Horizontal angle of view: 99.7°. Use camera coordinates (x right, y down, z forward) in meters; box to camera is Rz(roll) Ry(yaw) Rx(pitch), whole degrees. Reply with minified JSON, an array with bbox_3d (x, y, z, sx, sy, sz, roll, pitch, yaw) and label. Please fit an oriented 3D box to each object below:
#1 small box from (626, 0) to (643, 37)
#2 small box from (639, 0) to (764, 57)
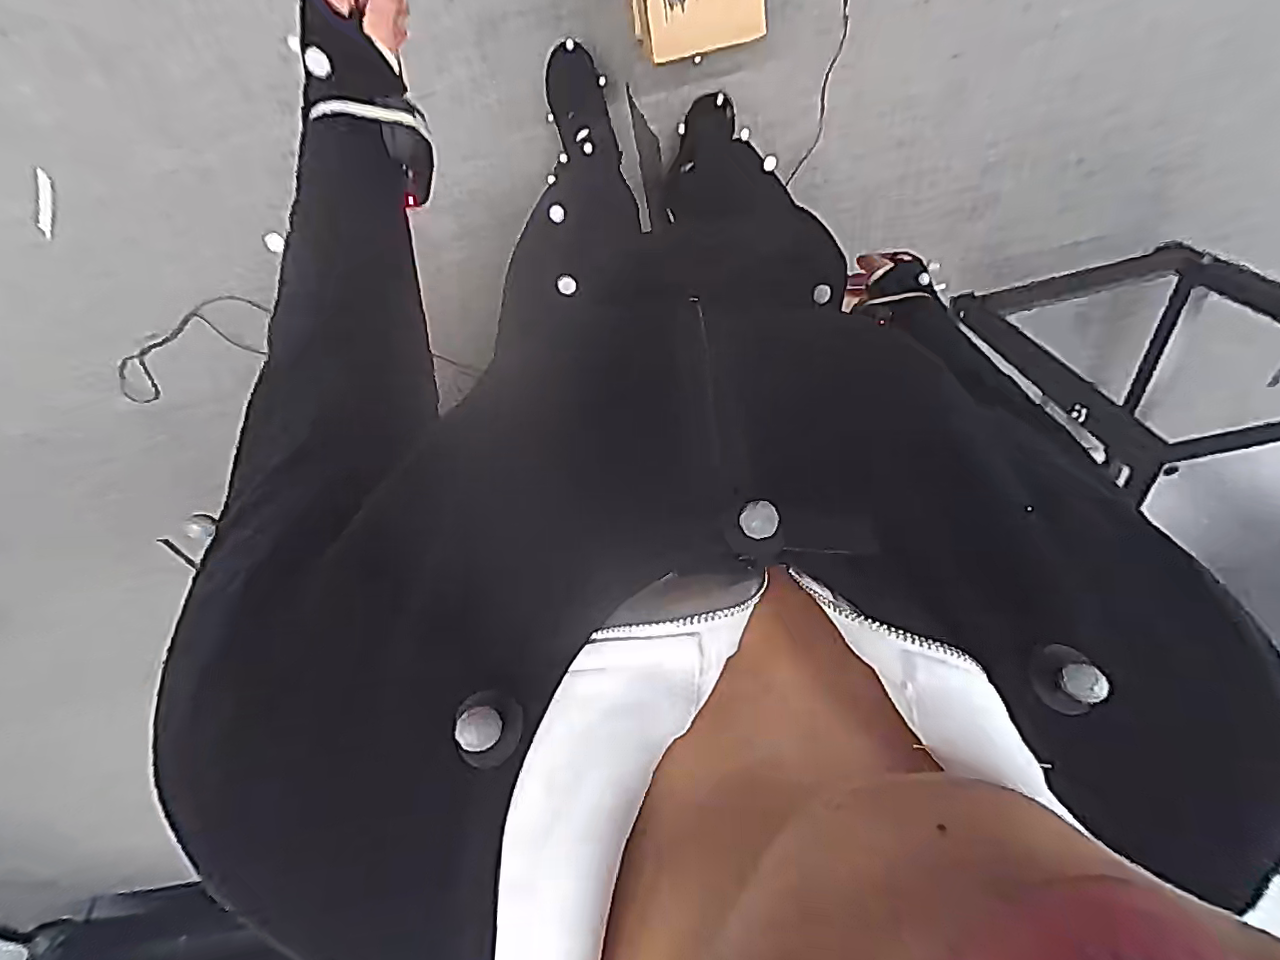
[{"bbox_3d":[0.064,-0.895,0.945,0.179,0.176,0.168,-7,132,0],"label":"small box"},{"bbox_3d":[0.084,-0.775,0.832,0.179,0.176,0.168,-11,132,4],"label":"small box"}]
